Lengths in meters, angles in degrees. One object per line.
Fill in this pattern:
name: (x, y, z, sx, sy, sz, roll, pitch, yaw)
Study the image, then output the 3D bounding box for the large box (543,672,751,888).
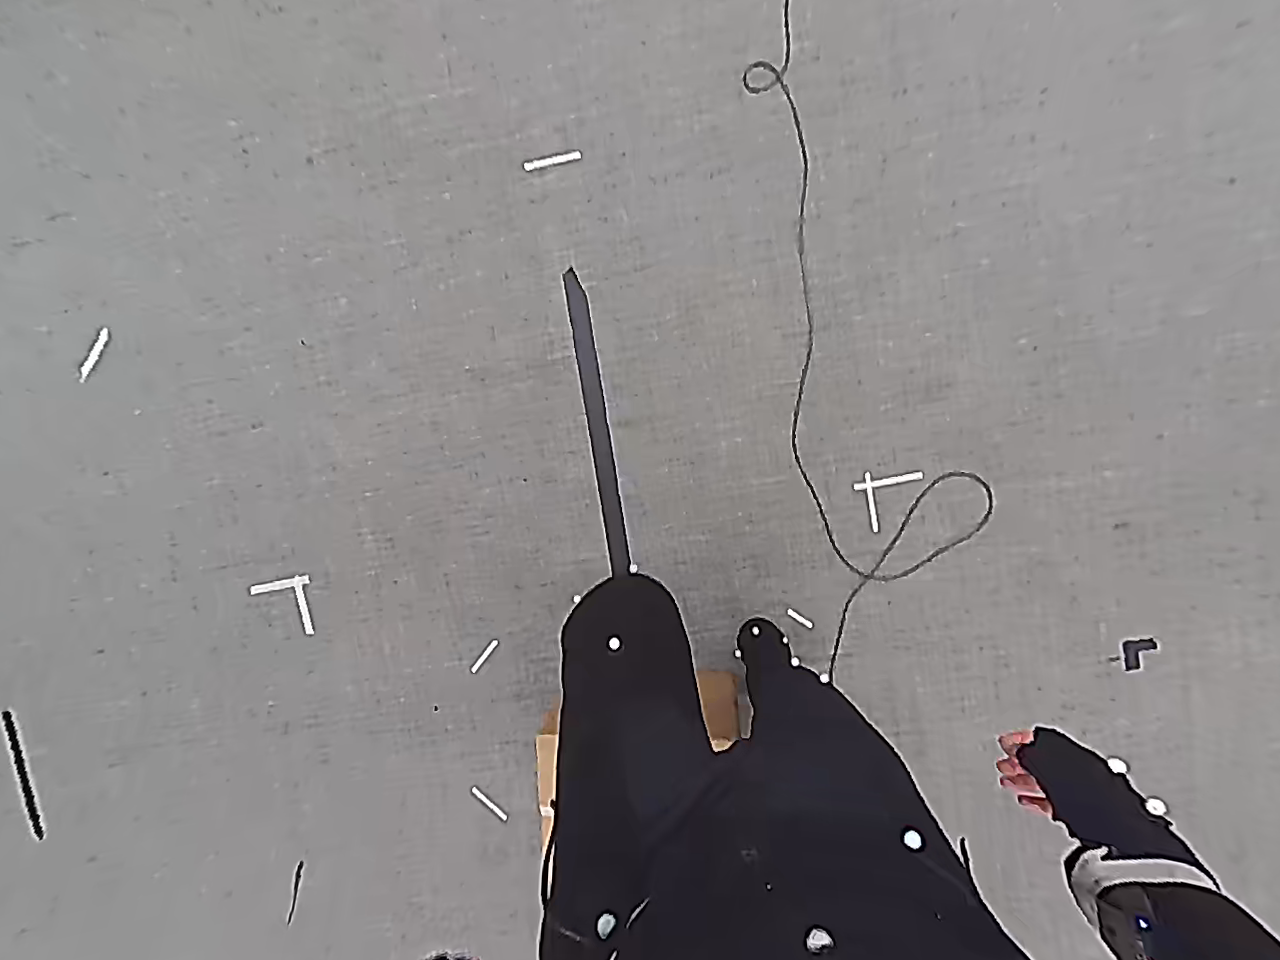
large box: (0.026, 0.637, 1.204, 0.408, 0.320, 0.320, -2, 95, 7)
